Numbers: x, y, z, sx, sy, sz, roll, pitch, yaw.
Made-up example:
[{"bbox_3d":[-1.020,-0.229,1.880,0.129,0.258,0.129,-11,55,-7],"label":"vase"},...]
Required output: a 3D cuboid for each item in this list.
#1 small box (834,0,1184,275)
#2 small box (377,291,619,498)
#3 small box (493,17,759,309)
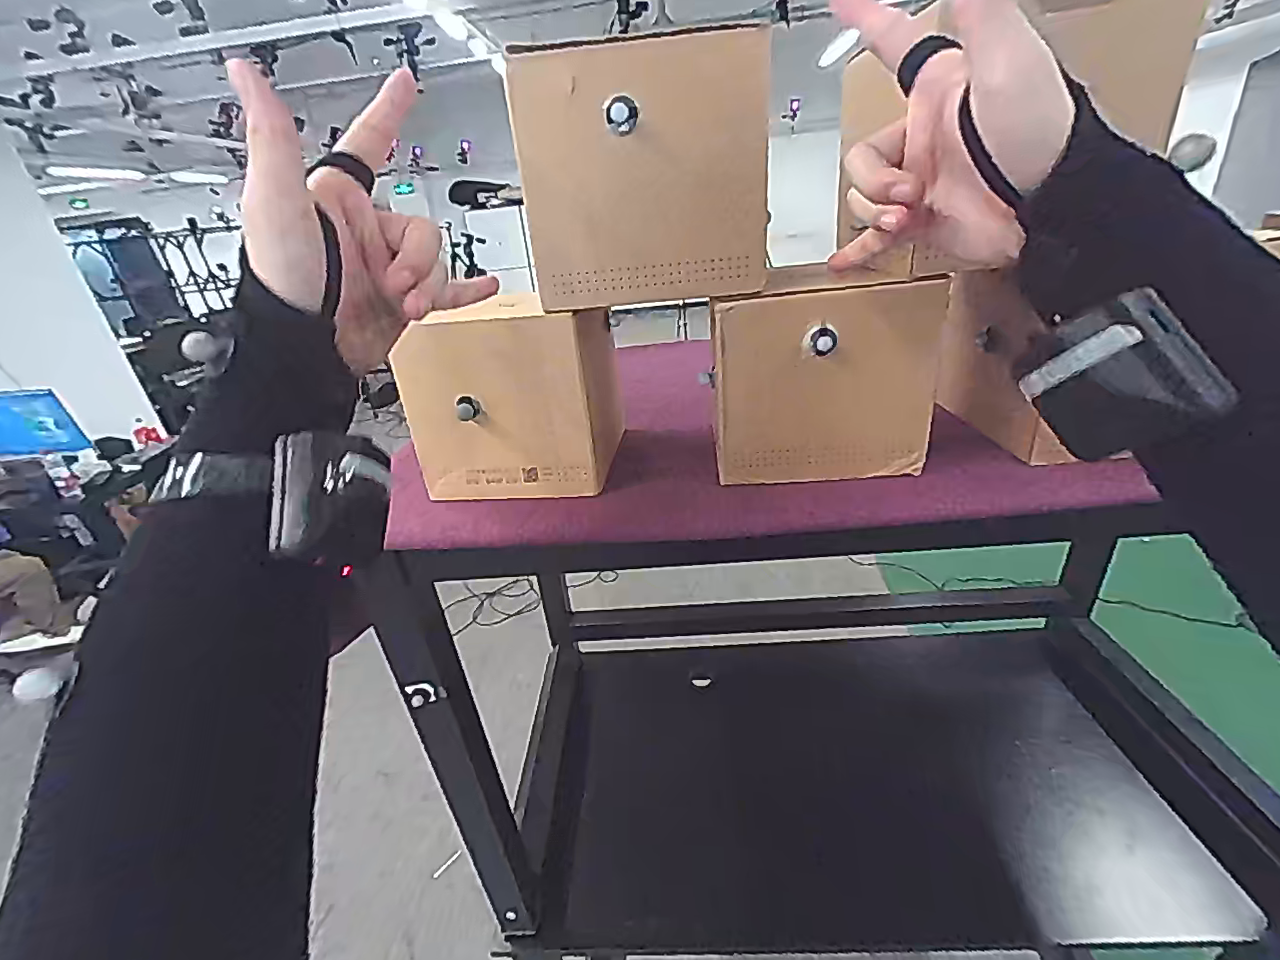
[{"bbox_3d":[0.264,-0.266,0.432,0.168,0.176,0.179,-6,26,3],"label":"small box"},{"bbox_3d":[-0.119,-0.089,0.540,0.168,0.176,0.179,-3,25,8],"label":"small box"},{"bbox_3d":[-0.001,-0.243,0.451,0.179,0.176,0.168,-4,26,3],"label":"small box"}]
